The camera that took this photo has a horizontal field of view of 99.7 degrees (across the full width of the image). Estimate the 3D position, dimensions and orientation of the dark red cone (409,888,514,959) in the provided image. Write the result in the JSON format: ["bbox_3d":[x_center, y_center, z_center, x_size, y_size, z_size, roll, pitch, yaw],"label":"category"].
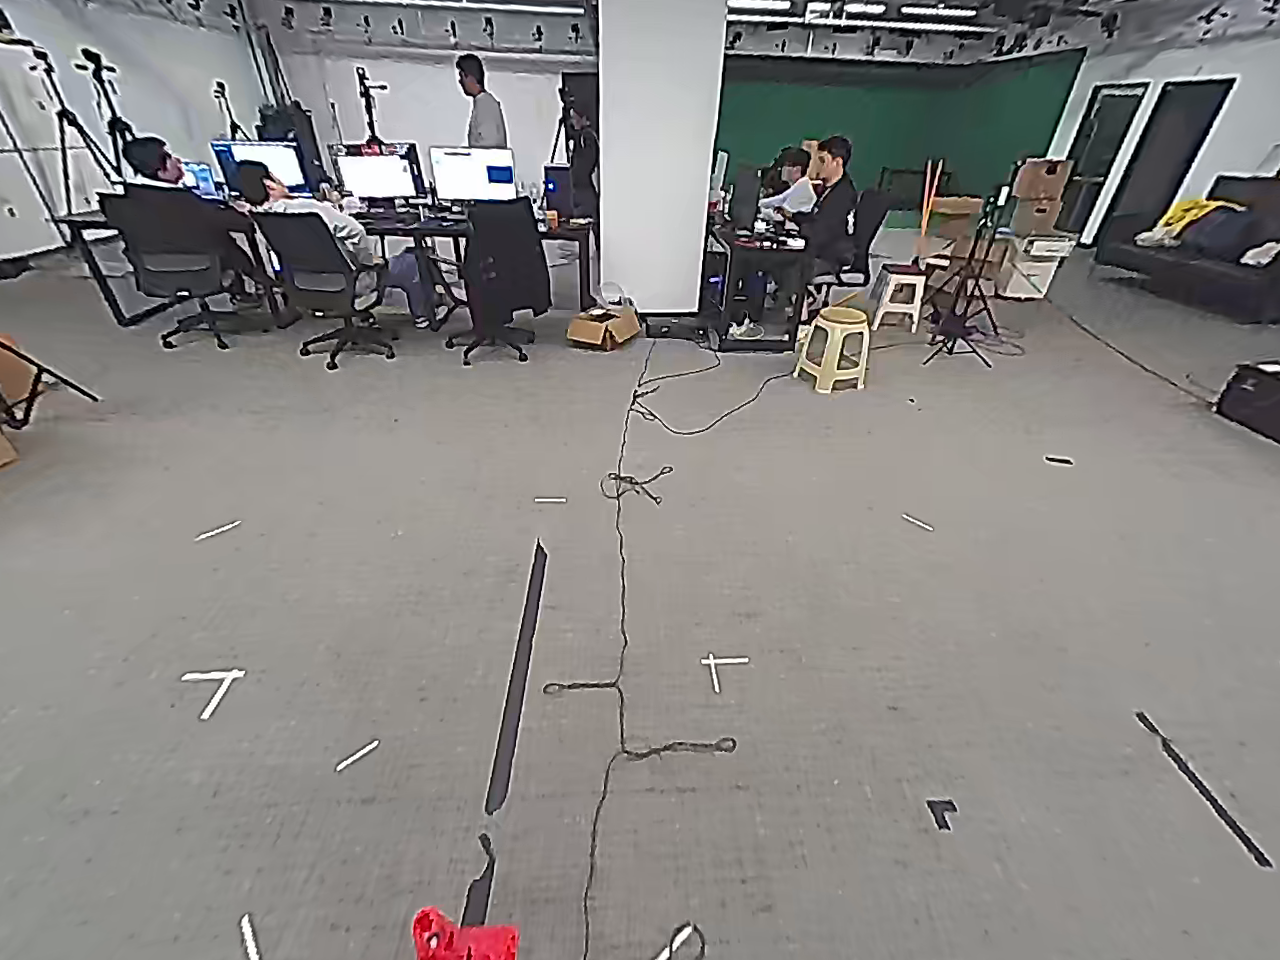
[{"bbox_3d":[-0.342,0.825,0.946,0.201,0.394,0.202,1,33,-4],"label":"dark red cone"}]
